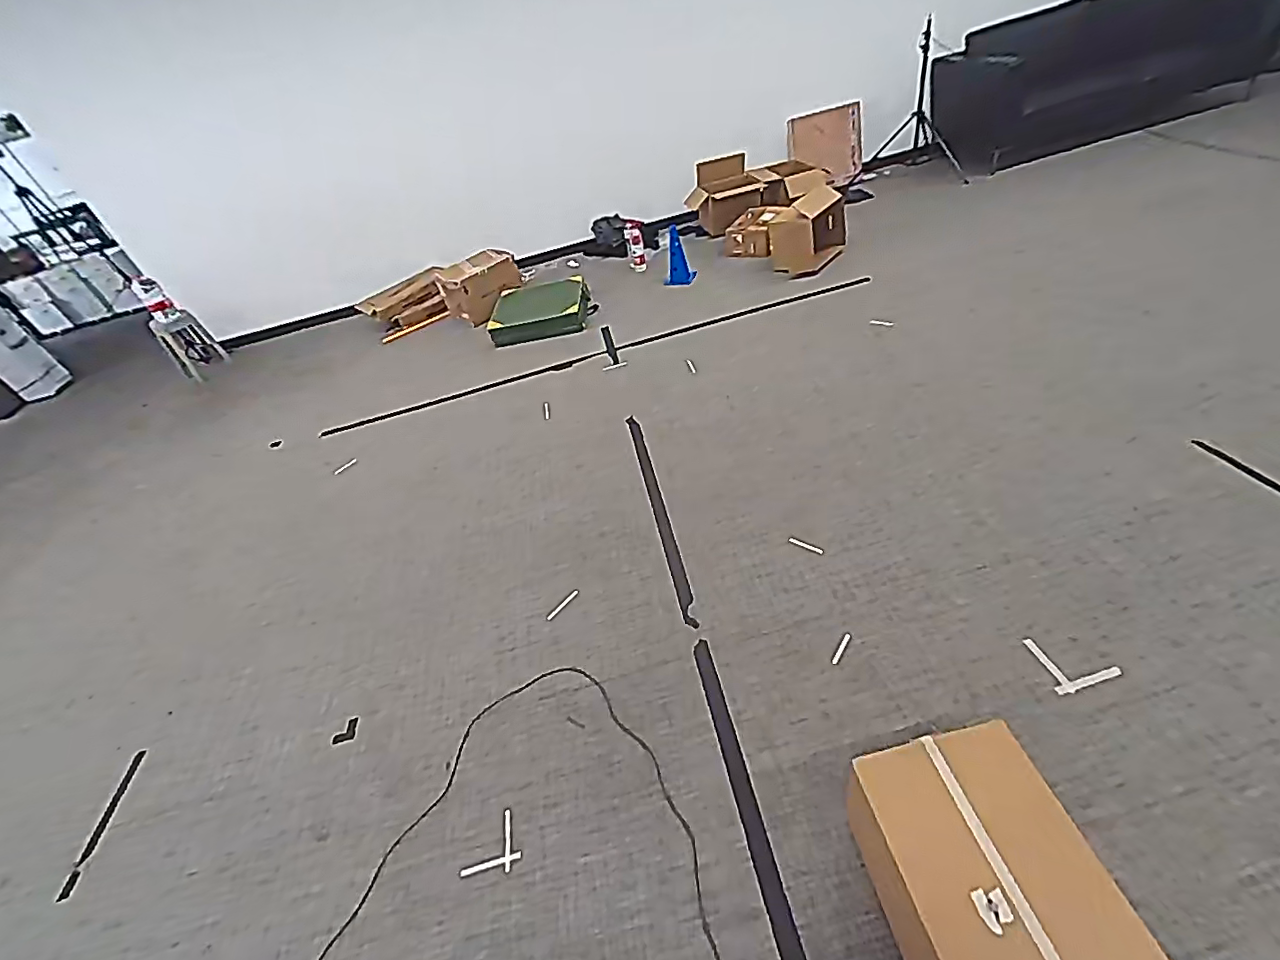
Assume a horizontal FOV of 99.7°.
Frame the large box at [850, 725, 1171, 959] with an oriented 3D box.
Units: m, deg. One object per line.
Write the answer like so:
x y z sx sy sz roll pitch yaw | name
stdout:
0.637 0.753 1.015 0.320 0.320 0.408 -16 41 1 | large box
